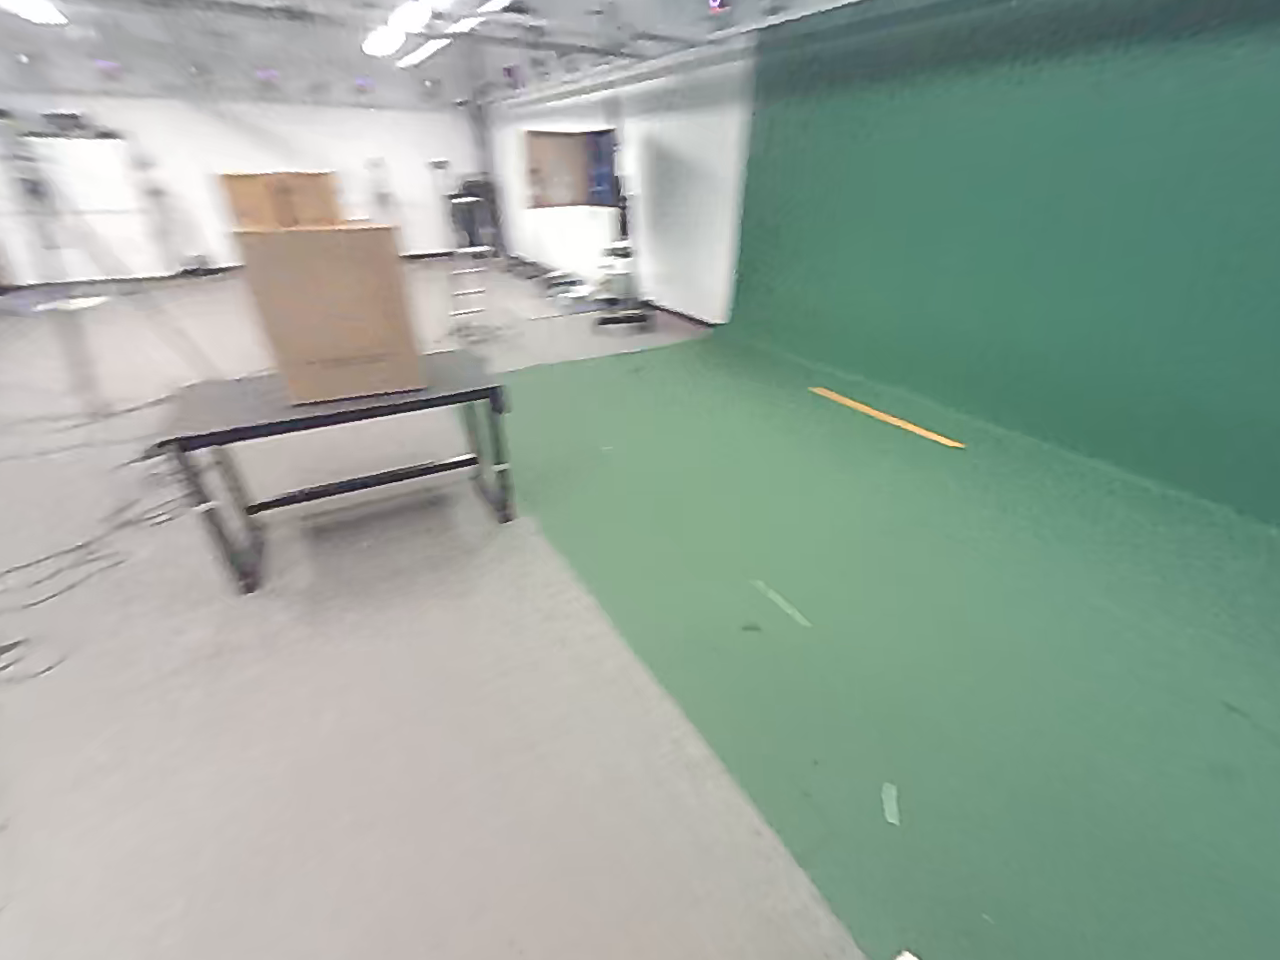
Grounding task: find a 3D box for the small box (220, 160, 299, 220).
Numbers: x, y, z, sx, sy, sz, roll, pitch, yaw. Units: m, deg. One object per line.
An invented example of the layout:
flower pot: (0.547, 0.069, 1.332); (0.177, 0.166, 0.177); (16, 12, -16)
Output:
small box: (-1.301, -0.999, 1.862); (0.168, 0.176, 0.179); (-10, 35, -17)
